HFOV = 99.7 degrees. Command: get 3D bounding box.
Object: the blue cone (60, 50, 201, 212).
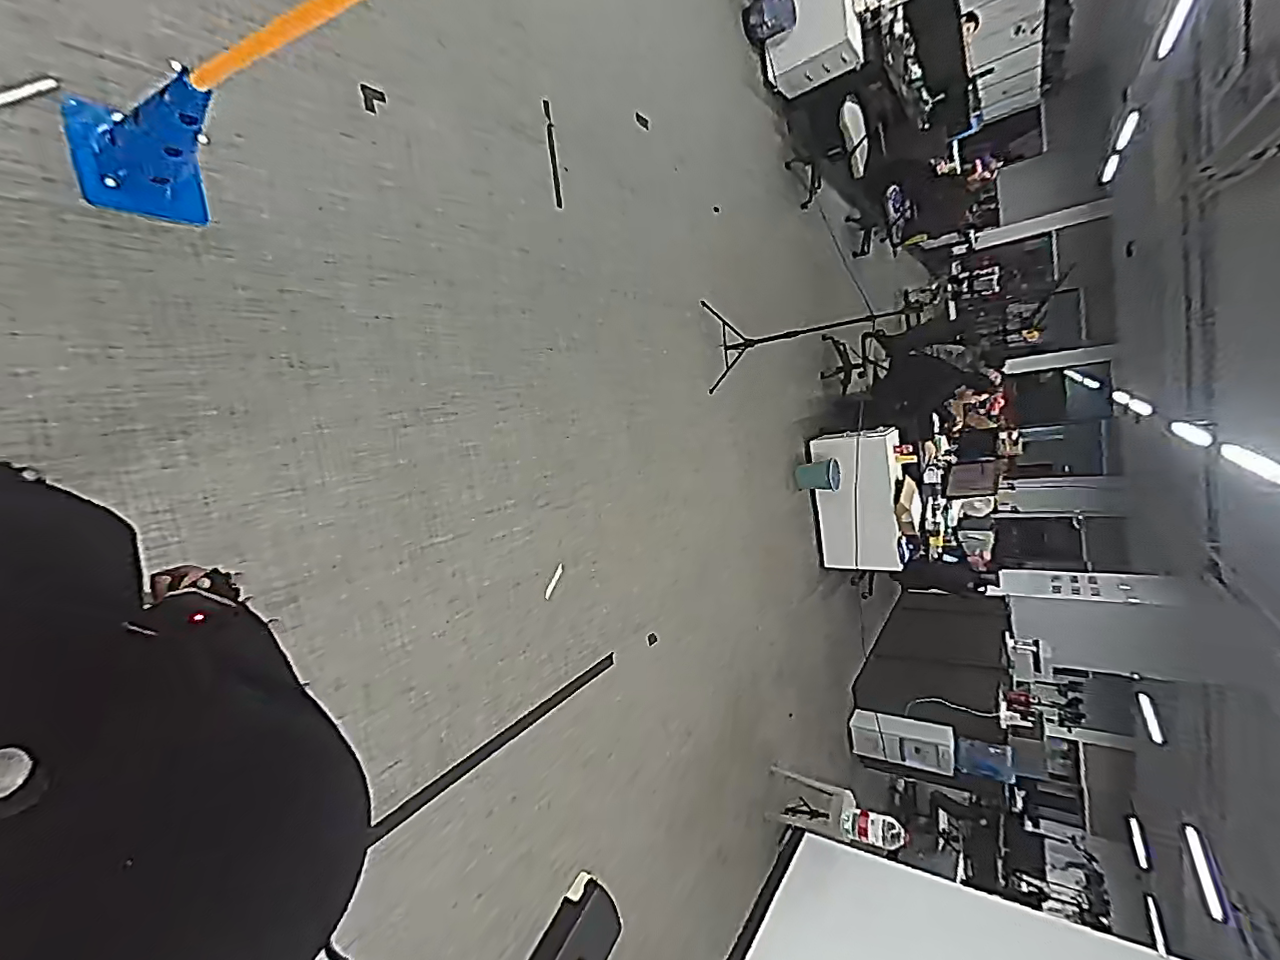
[{"bbox_3d":[-0.883,-0.658,0.989,0.193,0.380,0.192,-12,96,-54],"label":"blue cone"}]
